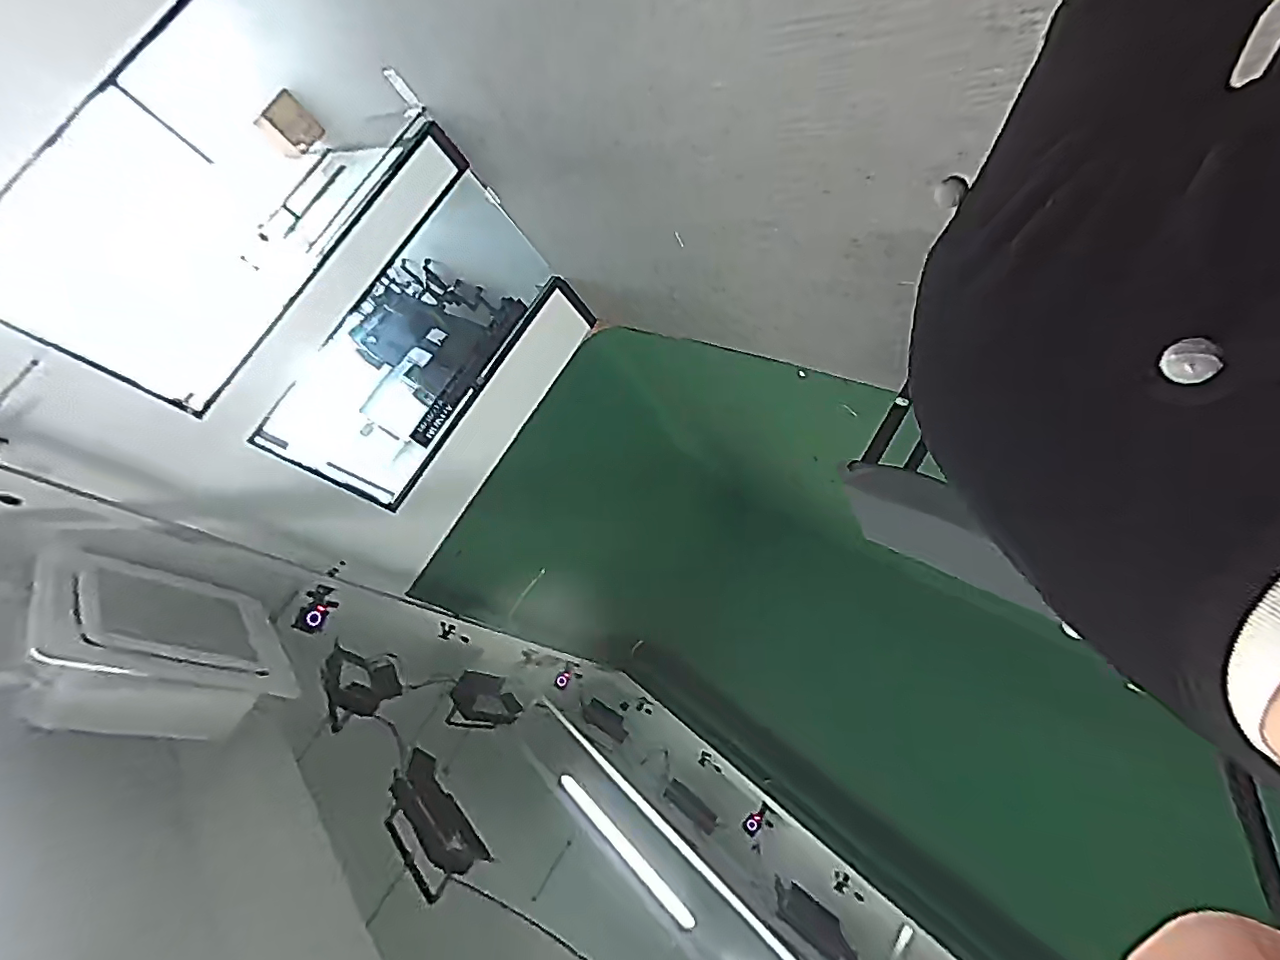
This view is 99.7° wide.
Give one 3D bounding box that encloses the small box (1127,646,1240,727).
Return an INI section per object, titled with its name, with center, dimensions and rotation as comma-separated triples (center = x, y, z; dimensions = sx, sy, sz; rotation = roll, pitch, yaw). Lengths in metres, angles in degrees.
[small box]
center = 1.654, 0.624, 1.651
dimensions = 0.179, 0.176, 0.168
rotation = 28, 172, 36
